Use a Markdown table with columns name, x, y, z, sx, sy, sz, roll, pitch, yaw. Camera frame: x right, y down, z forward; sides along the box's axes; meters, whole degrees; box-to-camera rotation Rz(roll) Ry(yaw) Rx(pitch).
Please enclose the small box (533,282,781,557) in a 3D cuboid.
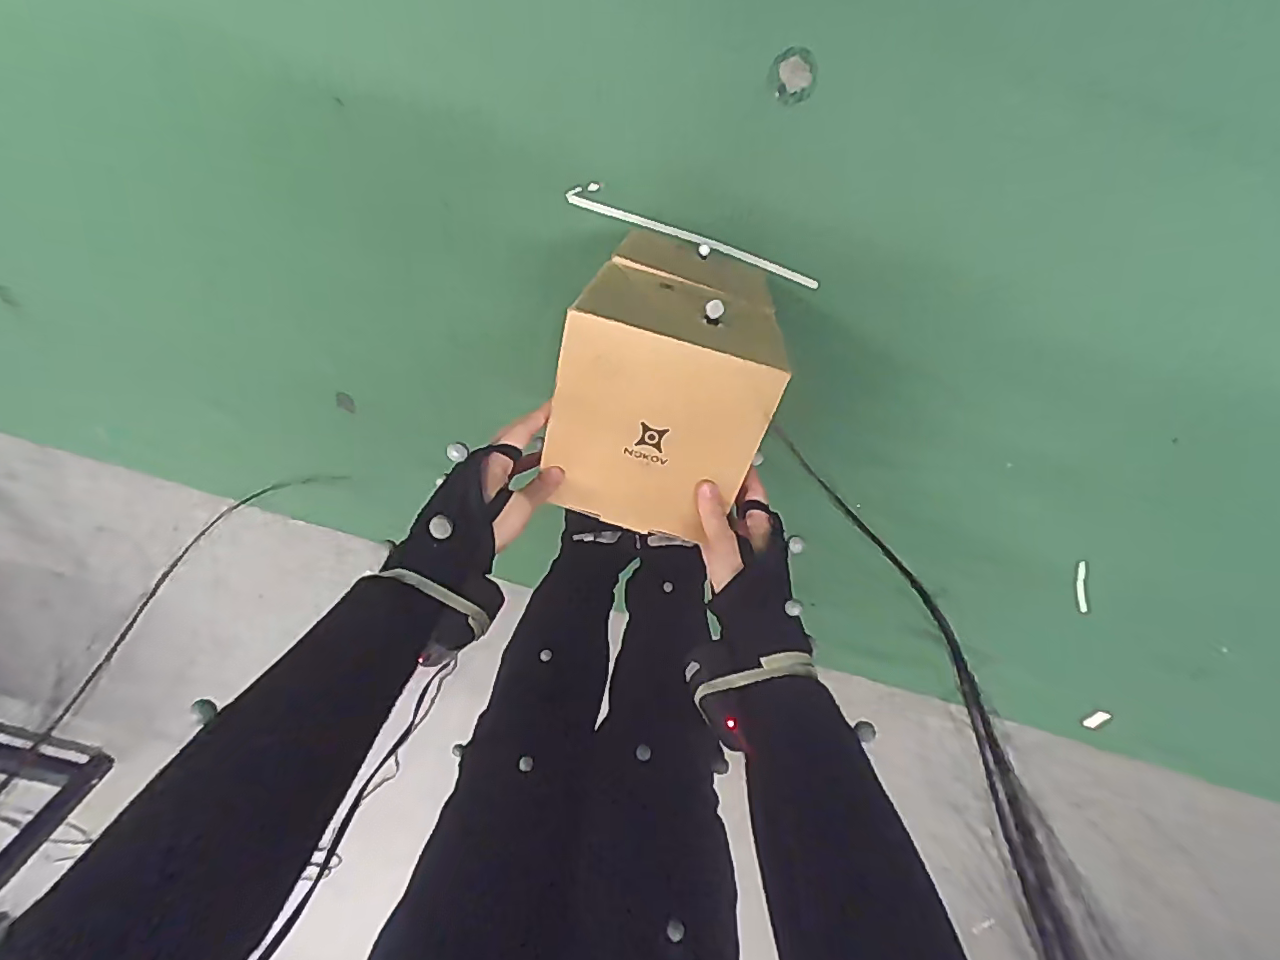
| name | x | y | z | sx | sy | sz | roll | pitch | yaw |
| --- | --- | --- | --- | --- | --- | --- | --- | --- | --- |
| small box | 0.011 | -0.063 | 0.498 | 0.168 | 0.176 | 0.179 | 14 | 124 | -2 |
